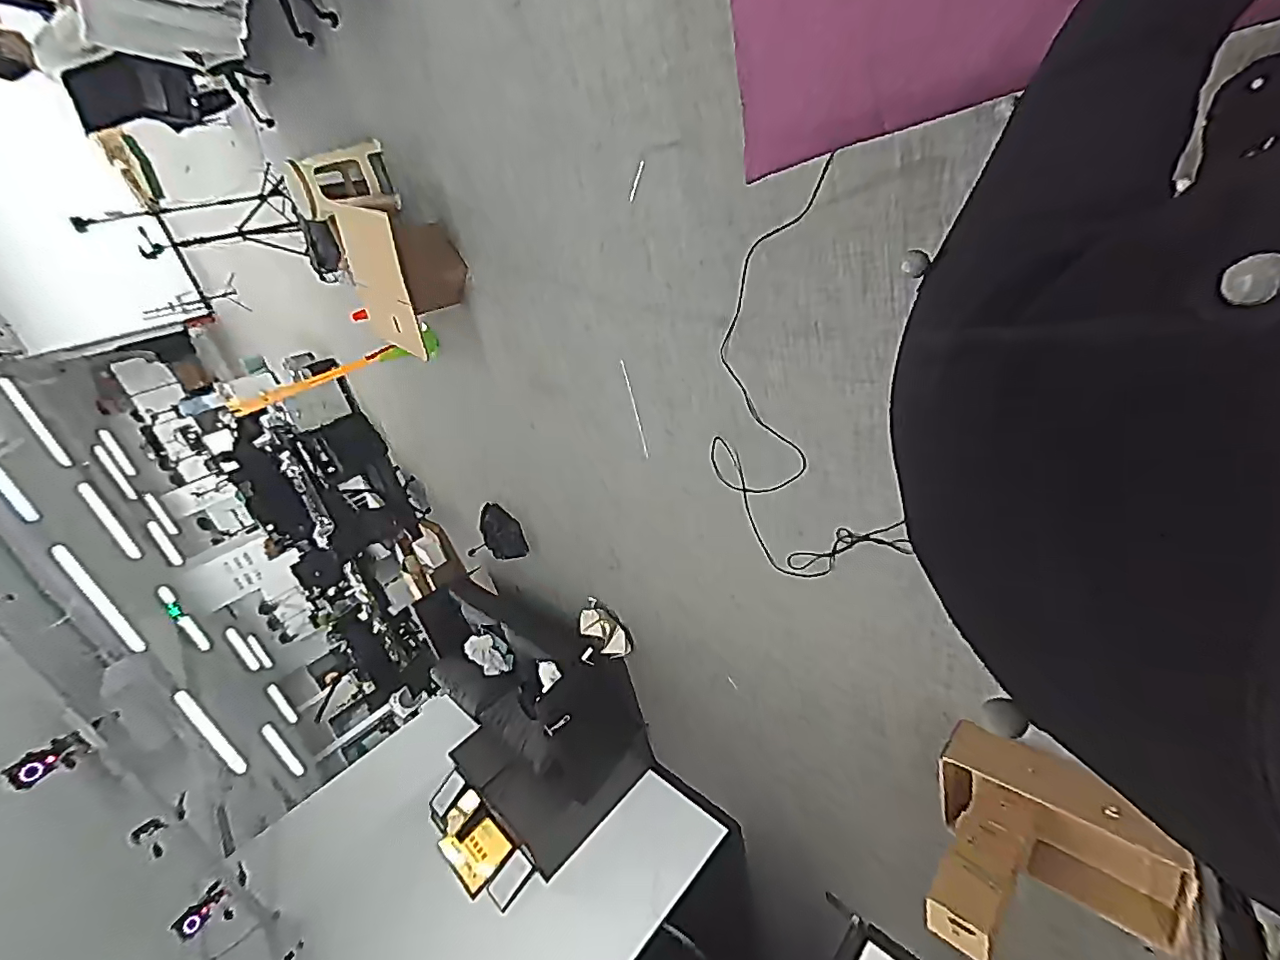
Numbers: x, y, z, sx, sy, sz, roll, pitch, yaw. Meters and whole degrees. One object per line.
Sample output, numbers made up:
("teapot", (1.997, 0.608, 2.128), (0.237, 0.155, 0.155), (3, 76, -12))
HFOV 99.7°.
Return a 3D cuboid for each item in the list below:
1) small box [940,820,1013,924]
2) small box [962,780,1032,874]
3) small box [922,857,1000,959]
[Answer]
("small box", (1.072, 1.239, 1.725), (0.168, 0.176, 0.179), (10, 124, 45))
("small box", (1.205, 1.158, 1.820), (0.168, 0.176, 0.179), (4, 120, 46))
("small box", (0.971, 1.299, 1.636), (0.168, 0.176, 0.179), (12, 125, 45))
